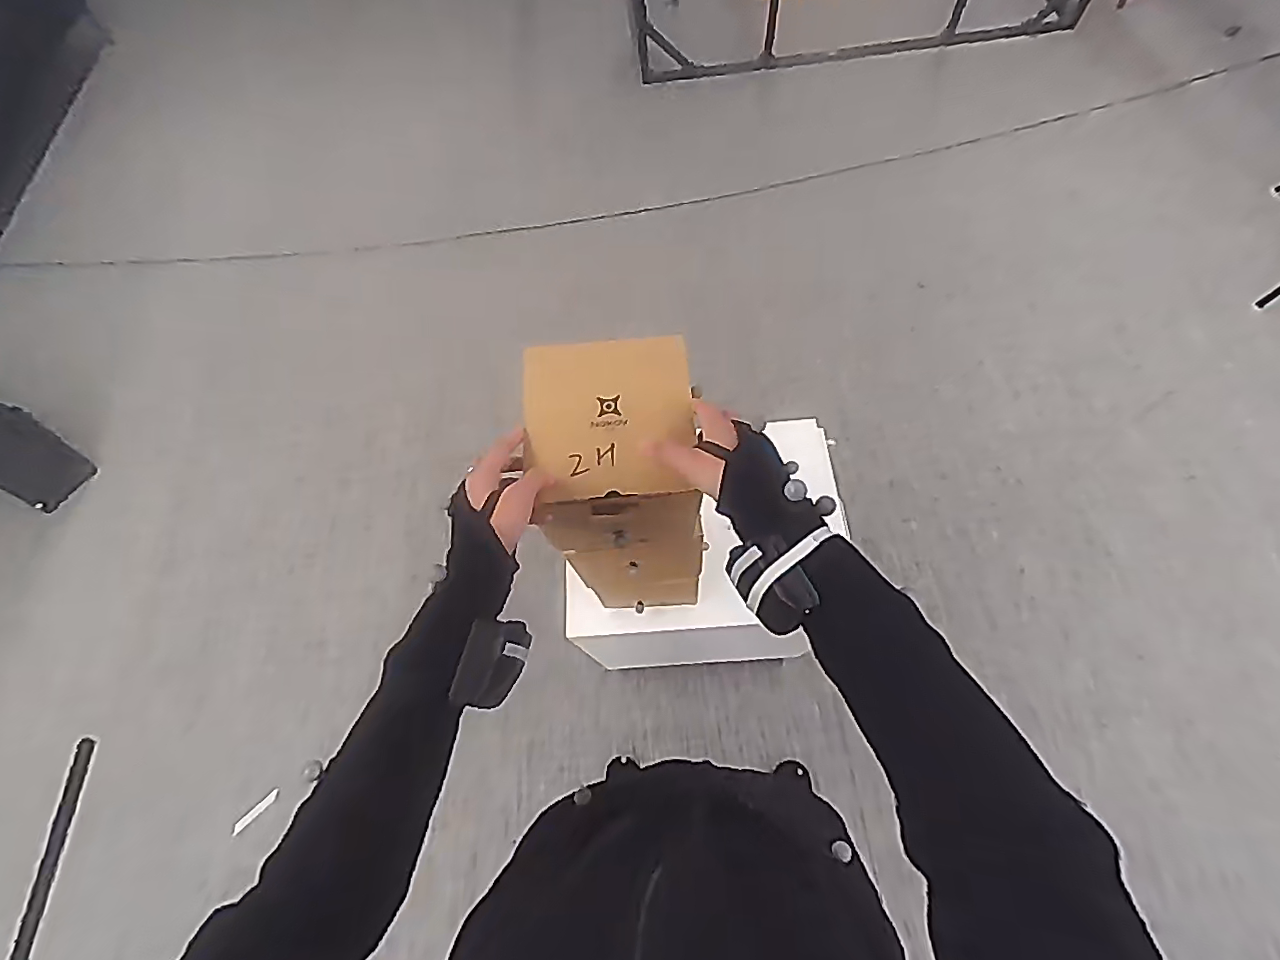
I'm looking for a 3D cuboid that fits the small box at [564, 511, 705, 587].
[{"bbox_3d":[-0.007,0.045,0.764,0.179,0.176,0.168,-8,64,3],"label":"small box"}]

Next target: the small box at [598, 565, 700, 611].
[{"bbox_3d":[0.011,0.114,0.912,0.168,0.176,0.179,-4,65,3],"label":"small box"}]

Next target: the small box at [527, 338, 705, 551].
[{"bbox_3d":[-0.024,-0.031,0.595,0.168,0.176,0.179,-4,69,0],"label":"small box"}]
